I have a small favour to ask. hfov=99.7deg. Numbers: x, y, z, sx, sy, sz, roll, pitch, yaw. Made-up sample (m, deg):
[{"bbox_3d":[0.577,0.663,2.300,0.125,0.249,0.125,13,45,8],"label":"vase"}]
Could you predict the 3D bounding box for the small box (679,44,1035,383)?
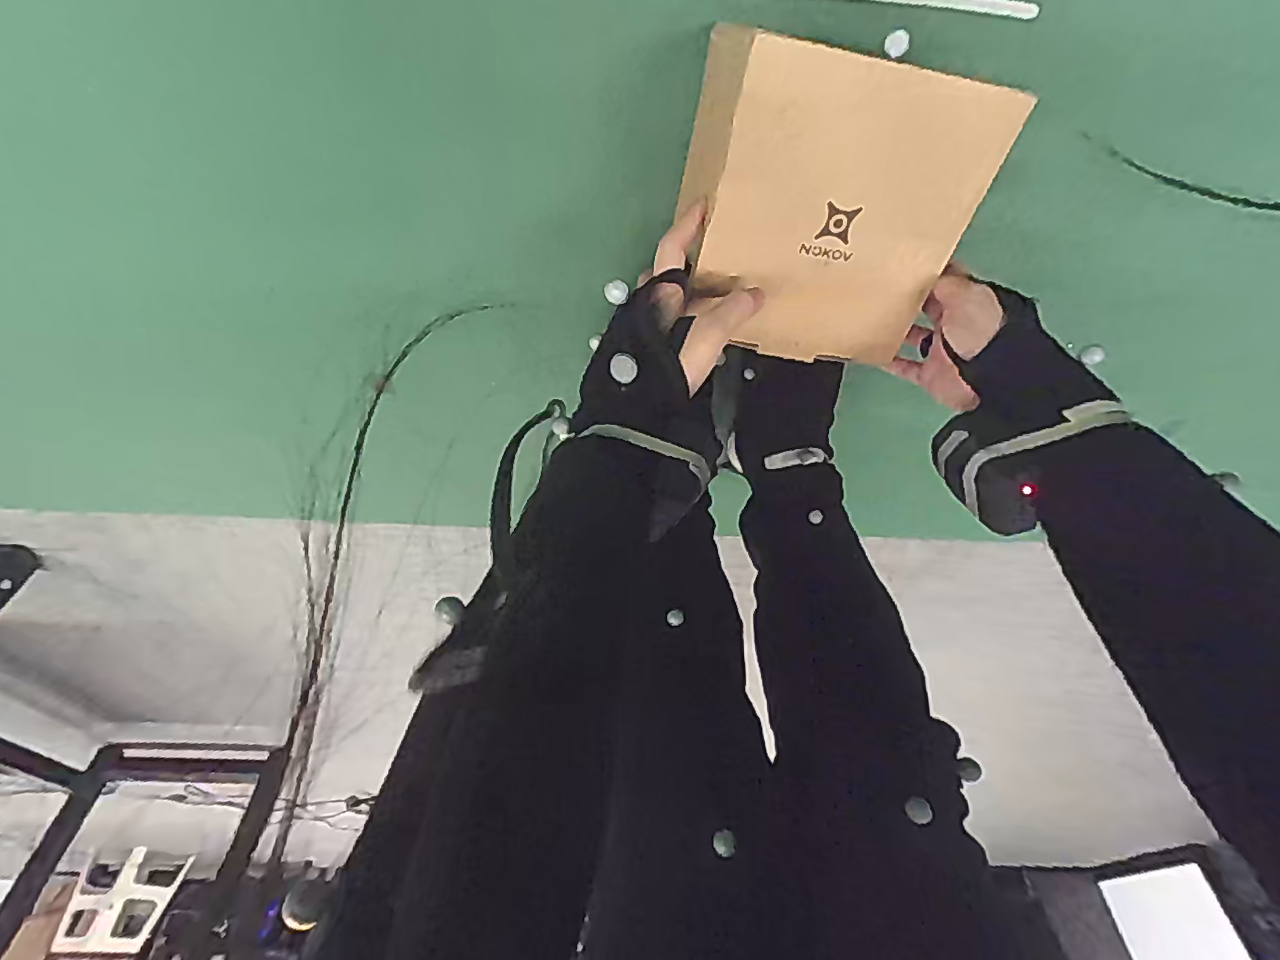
[{"bbox_3d":[0.126,-0.201,0.404,0.168,0.176,0.179,9,130,-5],"label":"small box"}]
